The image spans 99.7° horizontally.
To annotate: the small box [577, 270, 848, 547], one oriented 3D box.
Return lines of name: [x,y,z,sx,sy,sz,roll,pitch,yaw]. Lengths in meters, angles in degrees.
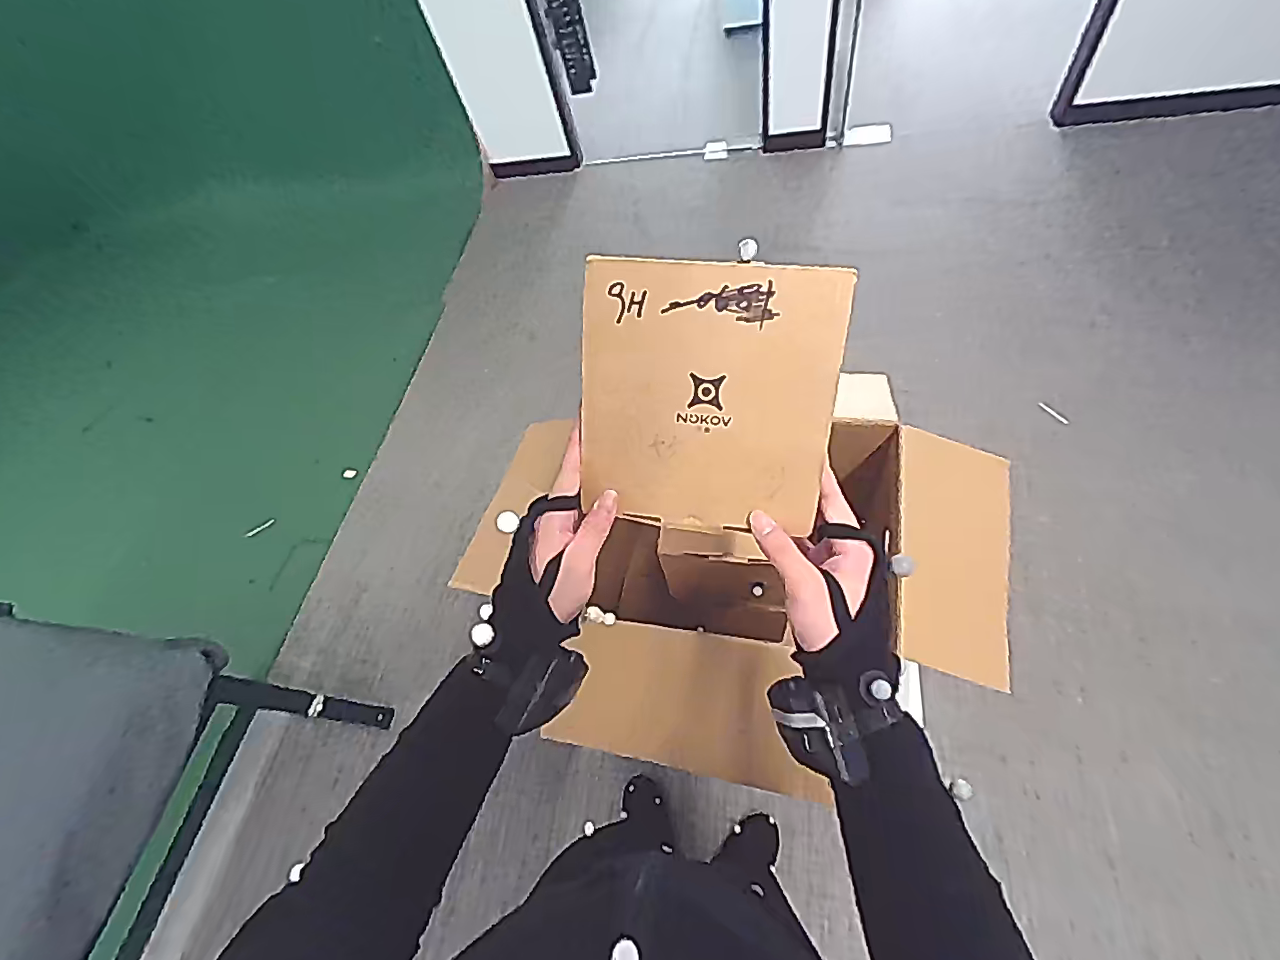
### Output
small box: [0.051,-0.069,0.433,0.168,0.179,0.176,6,20,7]
